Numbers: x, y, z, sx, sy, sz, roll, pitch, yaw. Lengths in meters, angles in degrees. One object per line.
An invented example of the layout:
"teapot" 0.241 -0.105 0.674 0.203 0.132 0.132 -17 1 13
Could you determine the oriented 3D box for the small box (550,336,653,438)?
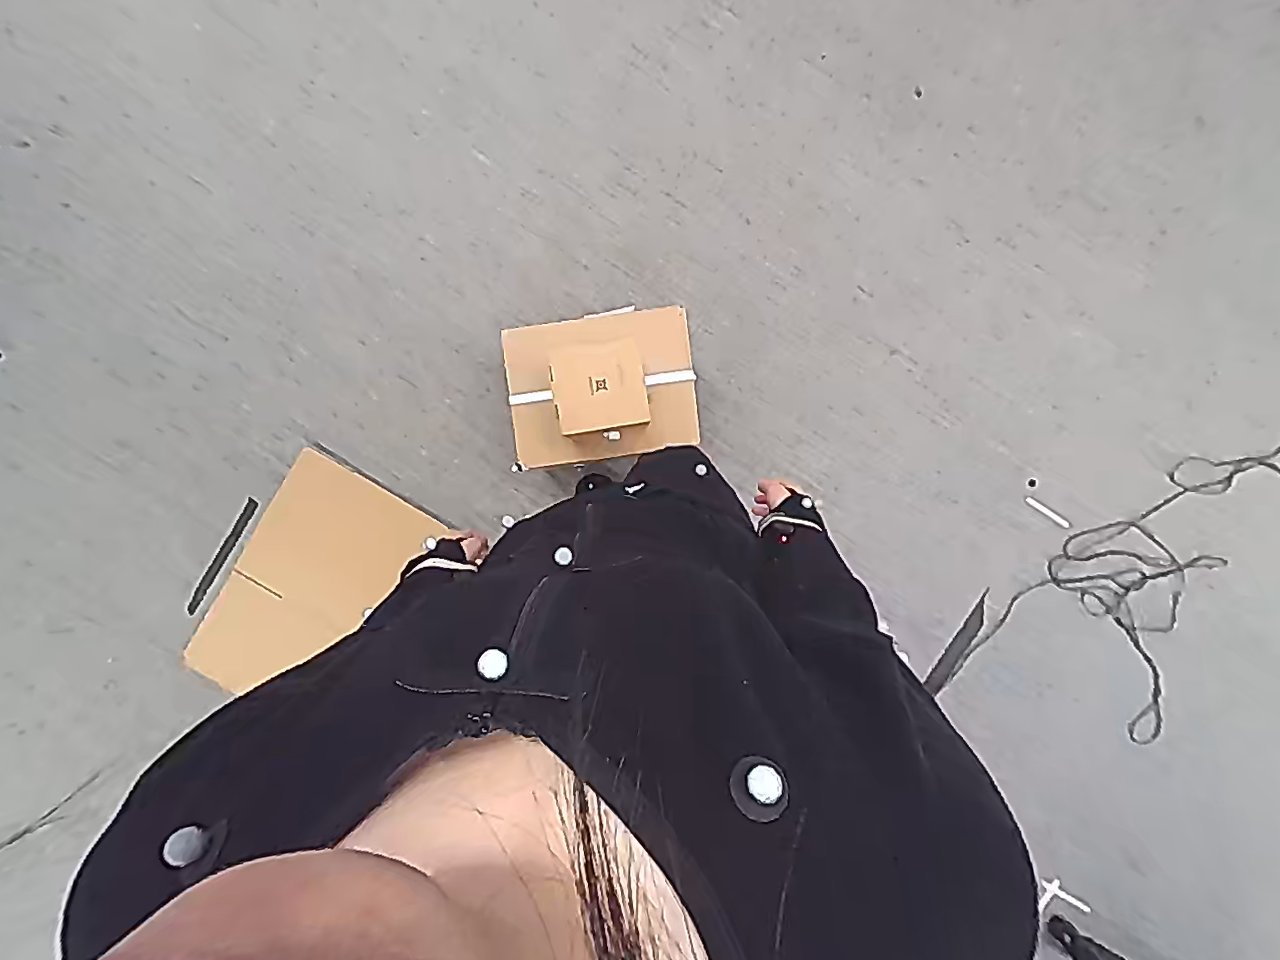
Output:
"small box" -0.073 -0.180 1.094 0.179 0.176 0.168 -10 93 -1
